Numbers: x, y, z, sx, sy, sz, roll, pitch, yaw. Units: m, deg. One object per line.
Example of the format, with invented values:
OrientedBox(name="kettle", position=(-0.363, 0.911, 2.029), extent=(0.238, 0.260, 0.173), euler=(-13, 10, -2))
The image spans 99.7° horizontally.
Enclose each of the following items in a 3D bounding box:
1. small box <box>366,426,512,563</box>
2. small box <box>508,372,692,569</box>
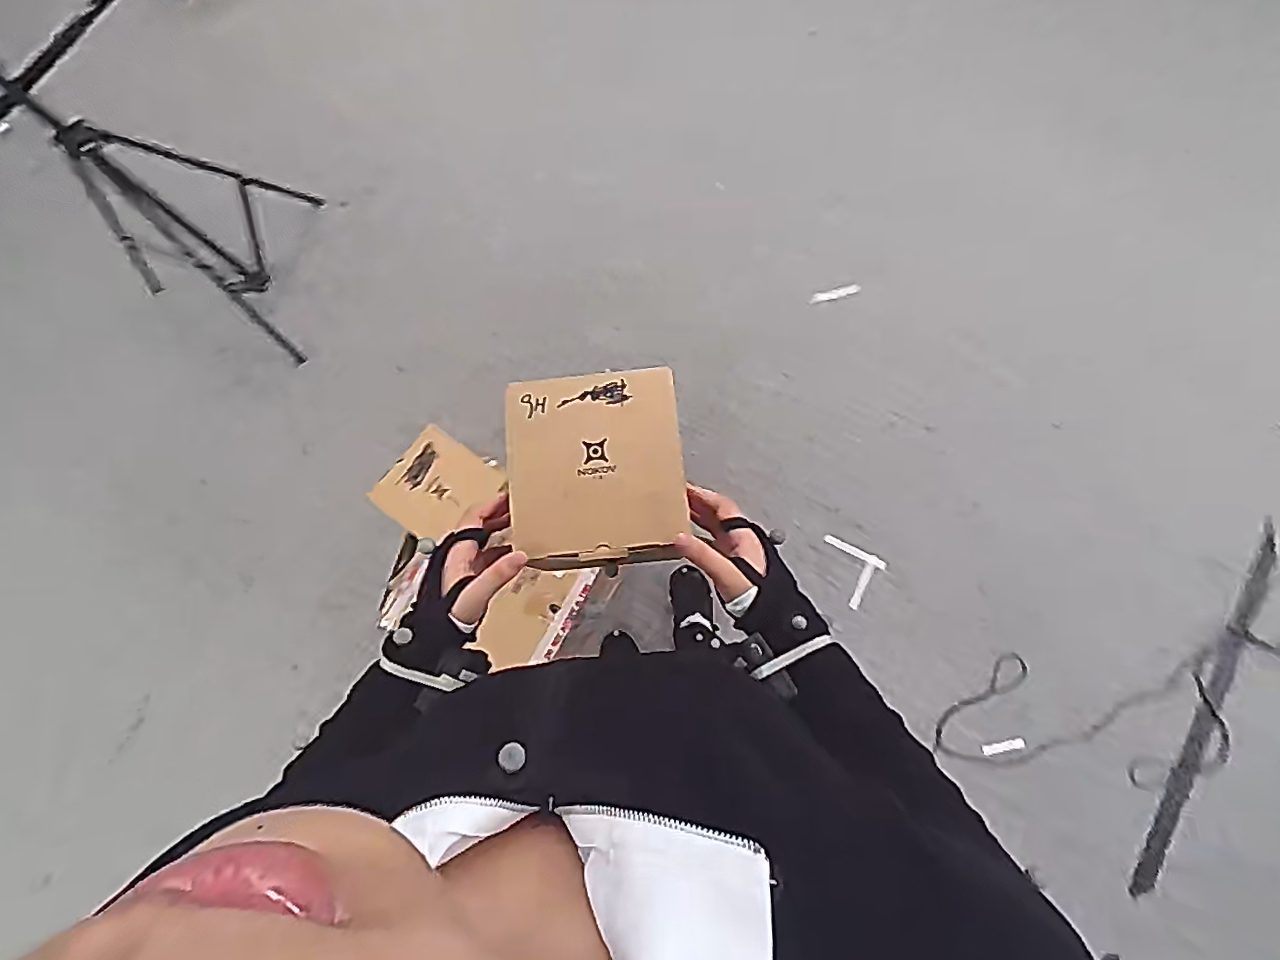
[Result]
OrientedBox(name="small box", position=(-0.343, 0.036, 0.980), extent=(0.179, 0.176, 0.168), euler=(35, 79, 7))
OrientedBox(name="small box", position=(-0.037, 0.002, 0.578), extent=(0.168, 0.176, 0.179), euler=(-5, 79, 0))
